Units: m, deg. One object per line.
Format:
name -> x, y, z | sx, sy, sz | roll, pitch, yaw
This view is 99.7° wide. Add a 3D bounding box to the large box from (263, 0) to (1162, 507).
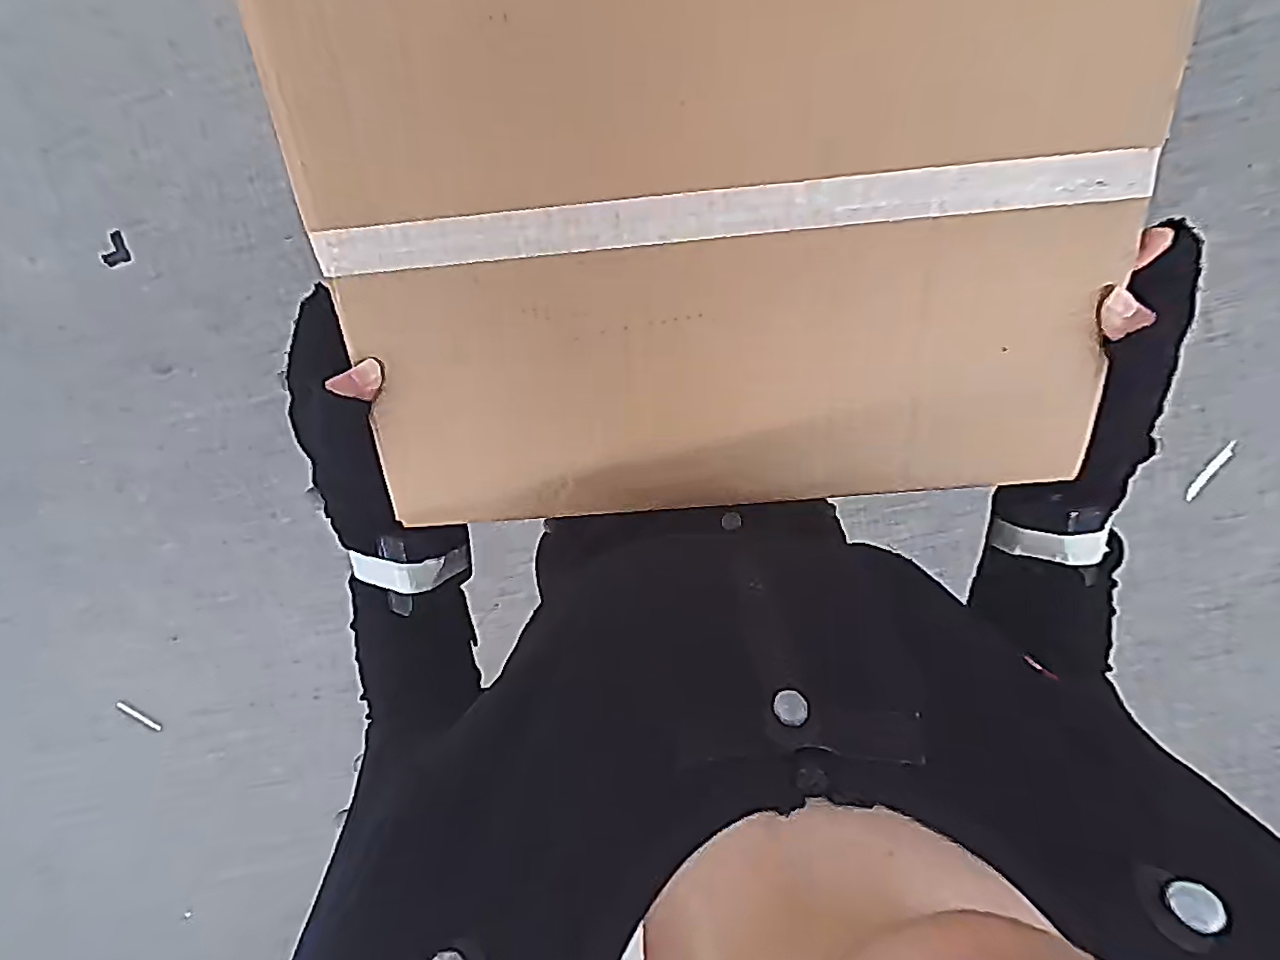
large box -> 0.036, -0.197, 0.410 | 0.408, 0.320, 0.320 | -4, 114, 2
